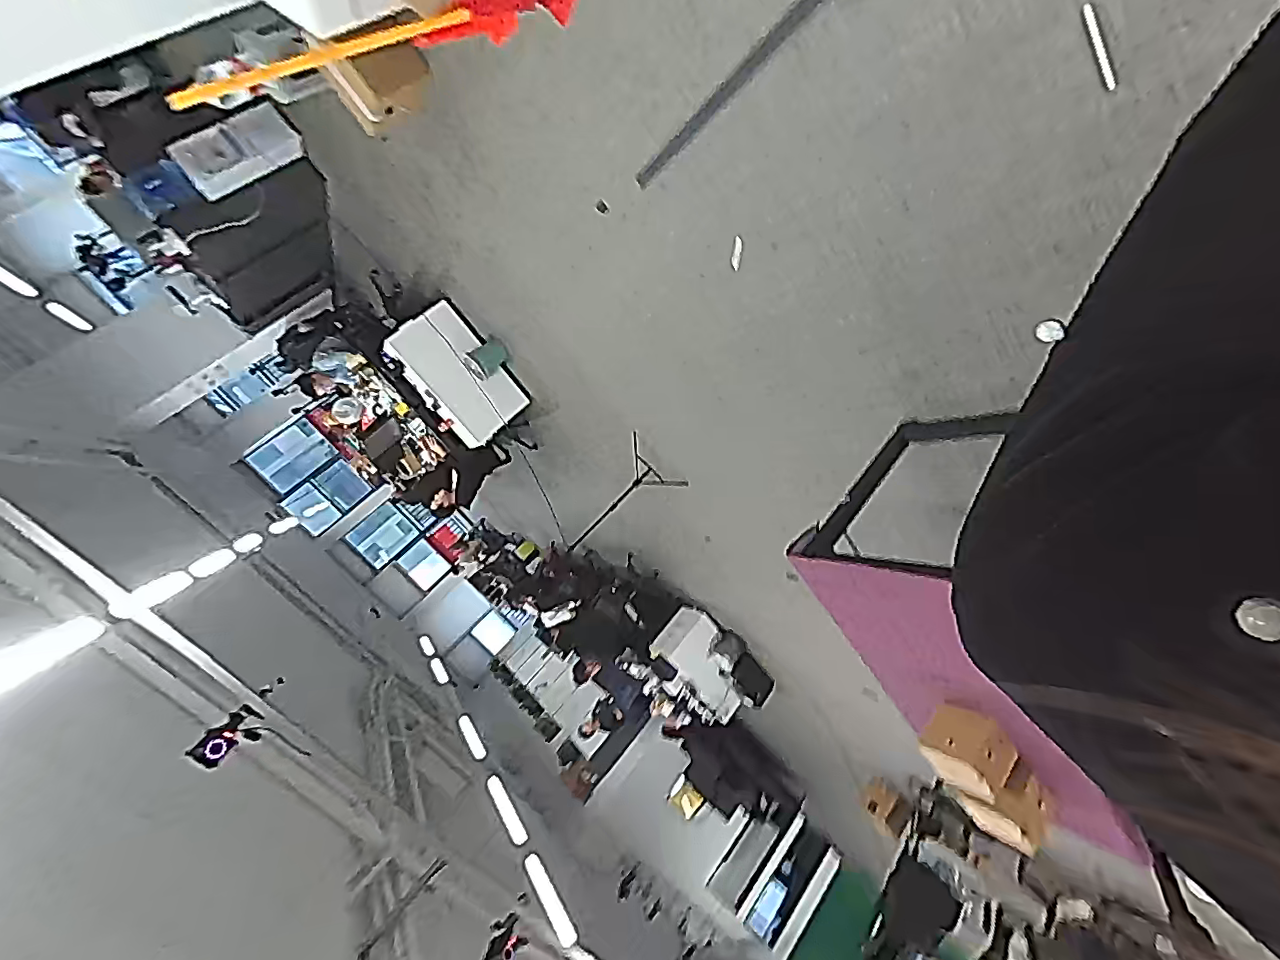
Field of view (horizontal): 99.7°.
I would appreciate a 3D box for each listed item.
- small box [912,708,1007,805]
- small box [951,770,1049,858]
[{"bbox_3d":[0.970,0.822,1.629,0.168,0.176,0.179,52,158,-15],"label":"small box"},{"bbox_3d":[1.123,1.012,1.685,0.168,0.176,0.179,50,158,-14],"label":"small box"}]
